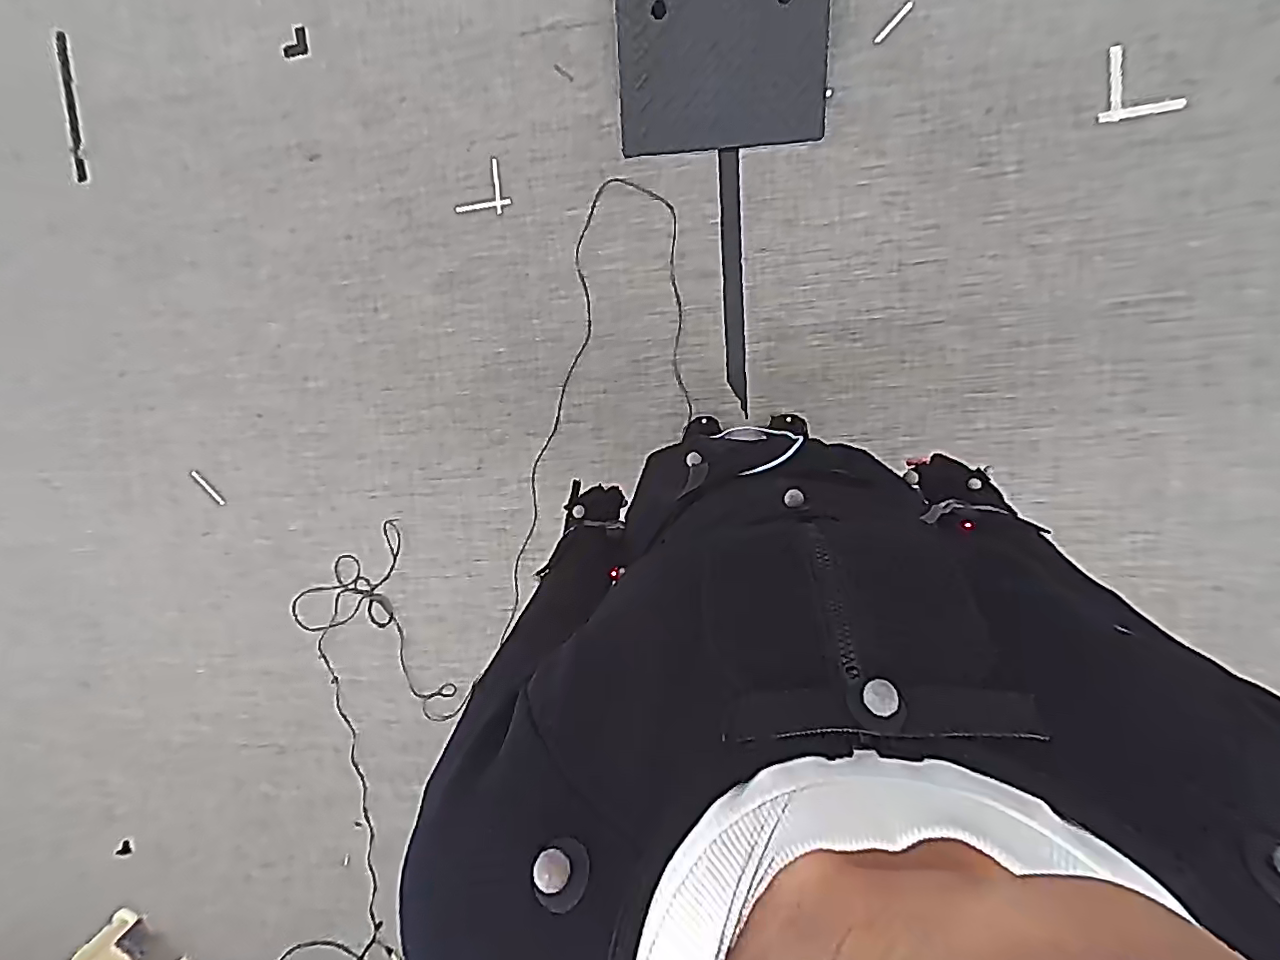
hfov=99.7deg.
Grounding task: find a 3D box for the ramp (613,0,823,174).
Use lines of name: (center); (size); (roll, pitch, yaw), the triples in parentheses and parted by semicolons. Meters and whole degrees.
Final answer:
ramp: (0.168, -1.278, 1.228); (0.509, 0.206, 0.991); (-4, 96, 8)
